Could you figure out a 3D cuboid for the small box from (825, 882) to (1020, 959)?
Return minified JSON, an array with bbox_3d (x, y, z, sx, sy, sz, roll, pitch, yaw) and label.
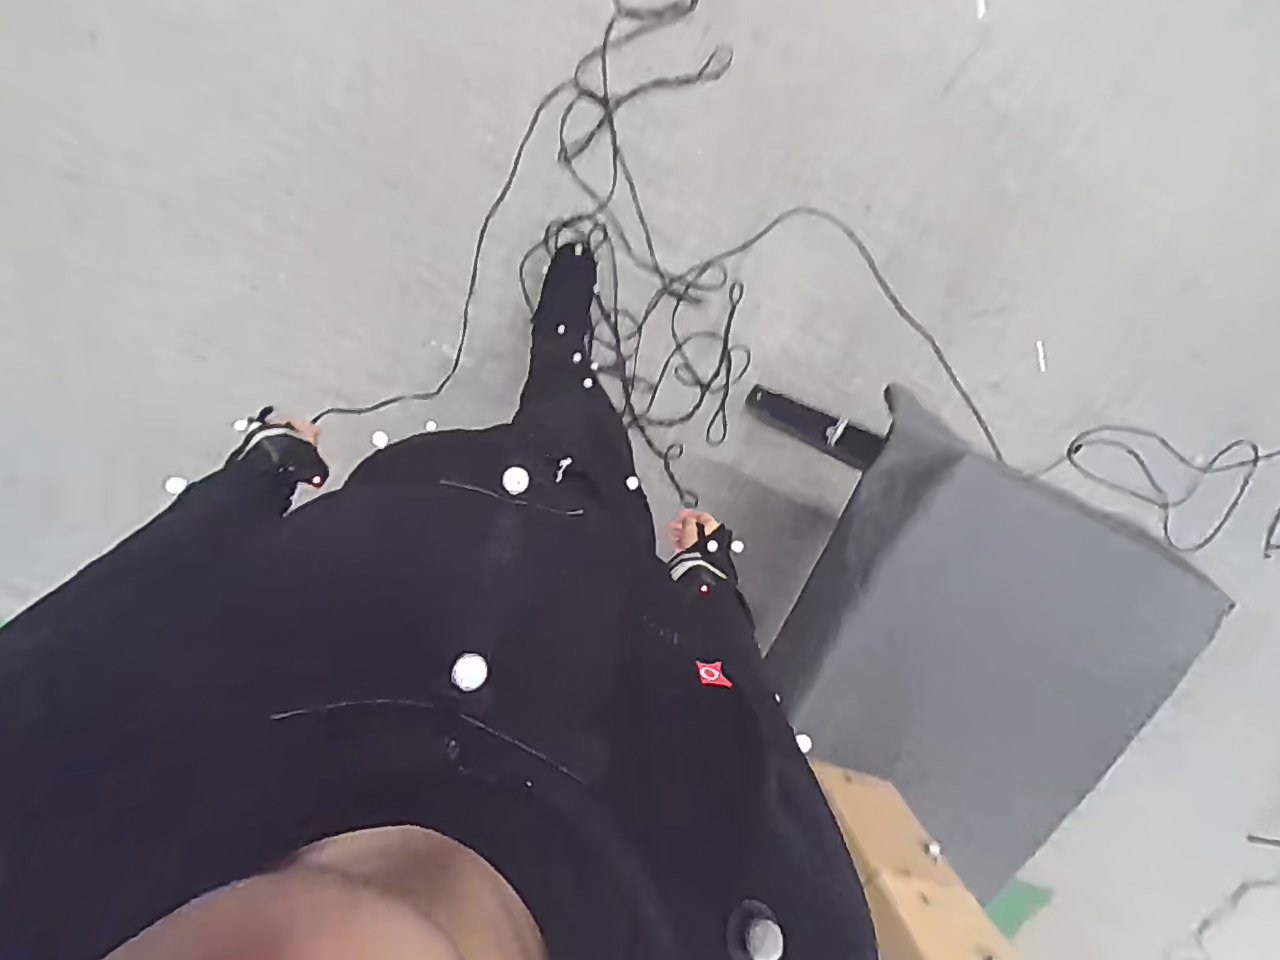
[{"bbox_3d":[0.339,0.601,0.610,0.168,0.176,0.179,24,104,-17],"label":"small box"}]
